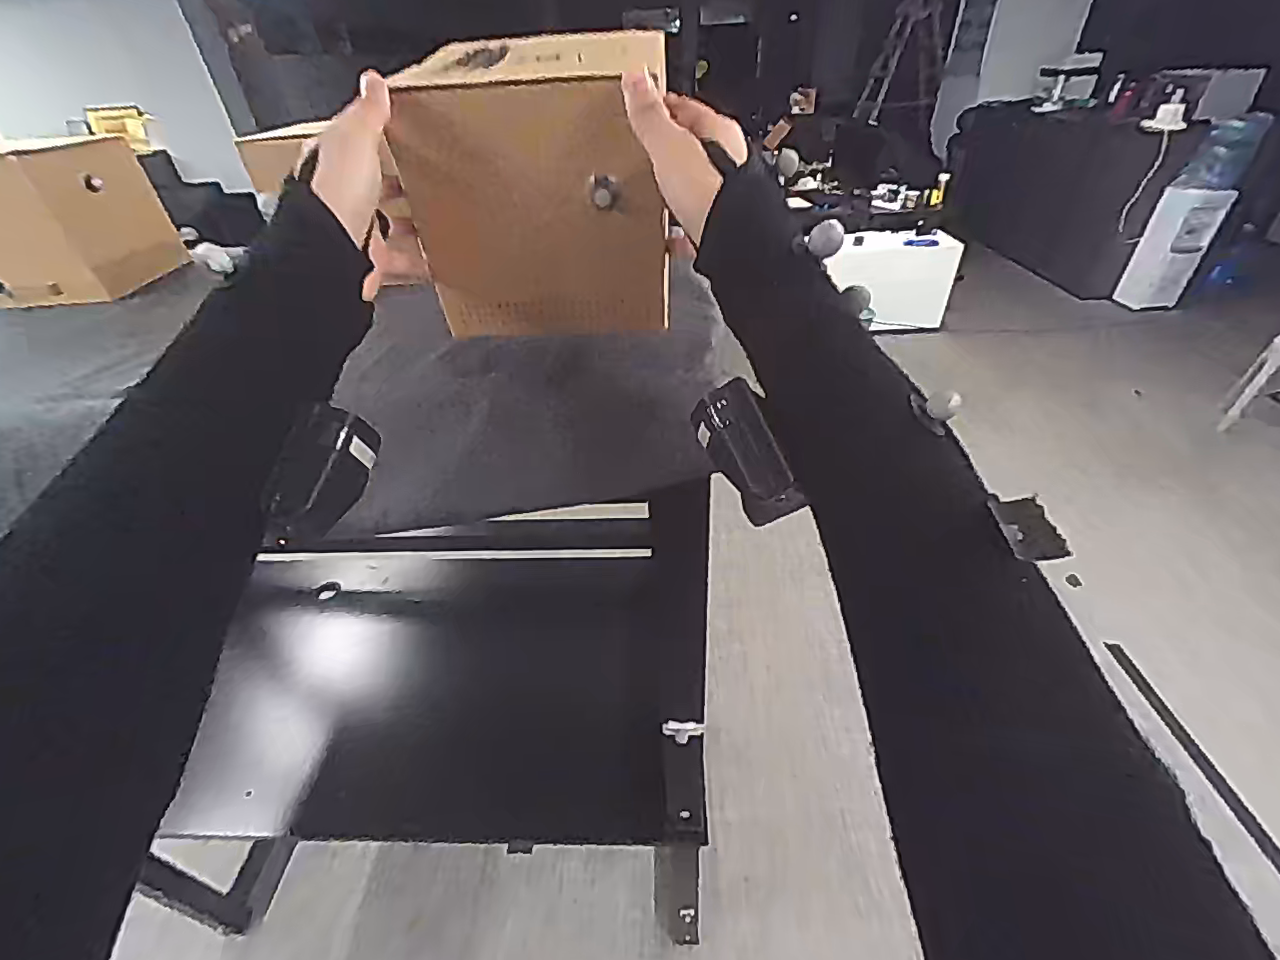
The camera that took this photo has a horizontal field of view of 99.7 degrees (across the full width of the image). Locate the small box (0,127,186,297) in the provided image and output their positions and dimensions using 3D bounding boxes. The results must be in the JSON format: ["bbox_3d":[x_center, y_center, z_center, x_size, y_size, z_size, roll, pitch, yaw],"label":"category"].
[{"bbox_3d":[-0.759,-0.347,0.708,0.168,0.176,0.179,-4,38,0],"label":"small box"}]

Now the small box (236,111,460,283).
[{"bbox_3d":[-0.352,-0.365,0.699,0.179,0.176,0.168,-1,39,2],"label":"small box"}]
